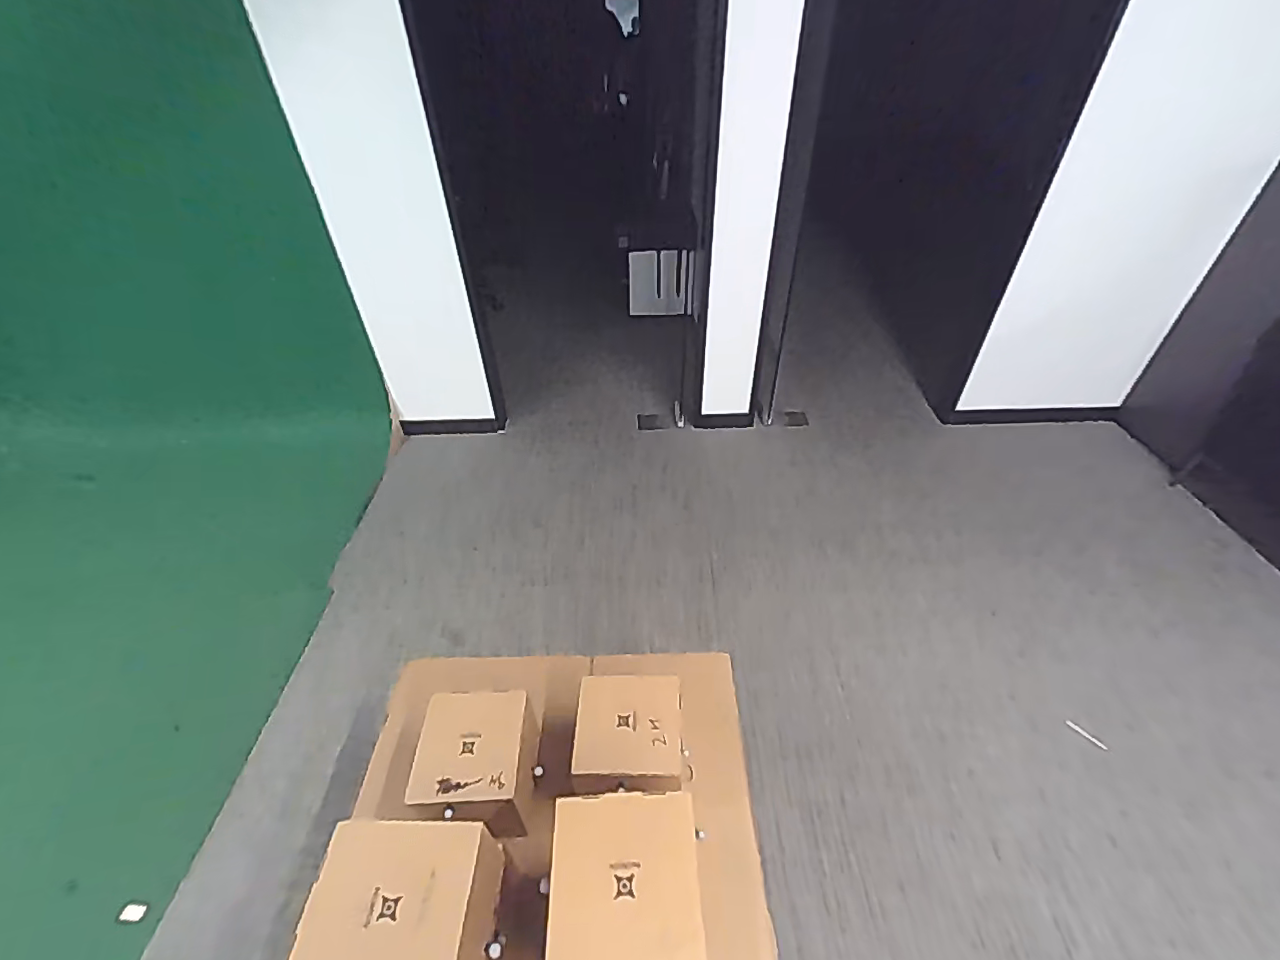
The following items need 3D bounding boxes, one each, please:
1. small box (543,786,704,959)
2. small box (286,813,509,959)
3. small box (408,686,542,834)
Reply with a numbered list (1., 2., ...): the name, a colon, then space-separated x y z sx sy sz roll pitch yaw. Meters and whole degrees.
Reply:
1. small box: -0.013 0.492 0.644 0.168 0.176 0.179 -3 41 0
2. small box: -0.268 0.511 0.633 0.179 0.176 0.168 0 42 2
3. small box: -0.266 0.476 0.920 0.168 0.176 0.179 -3 40 1
